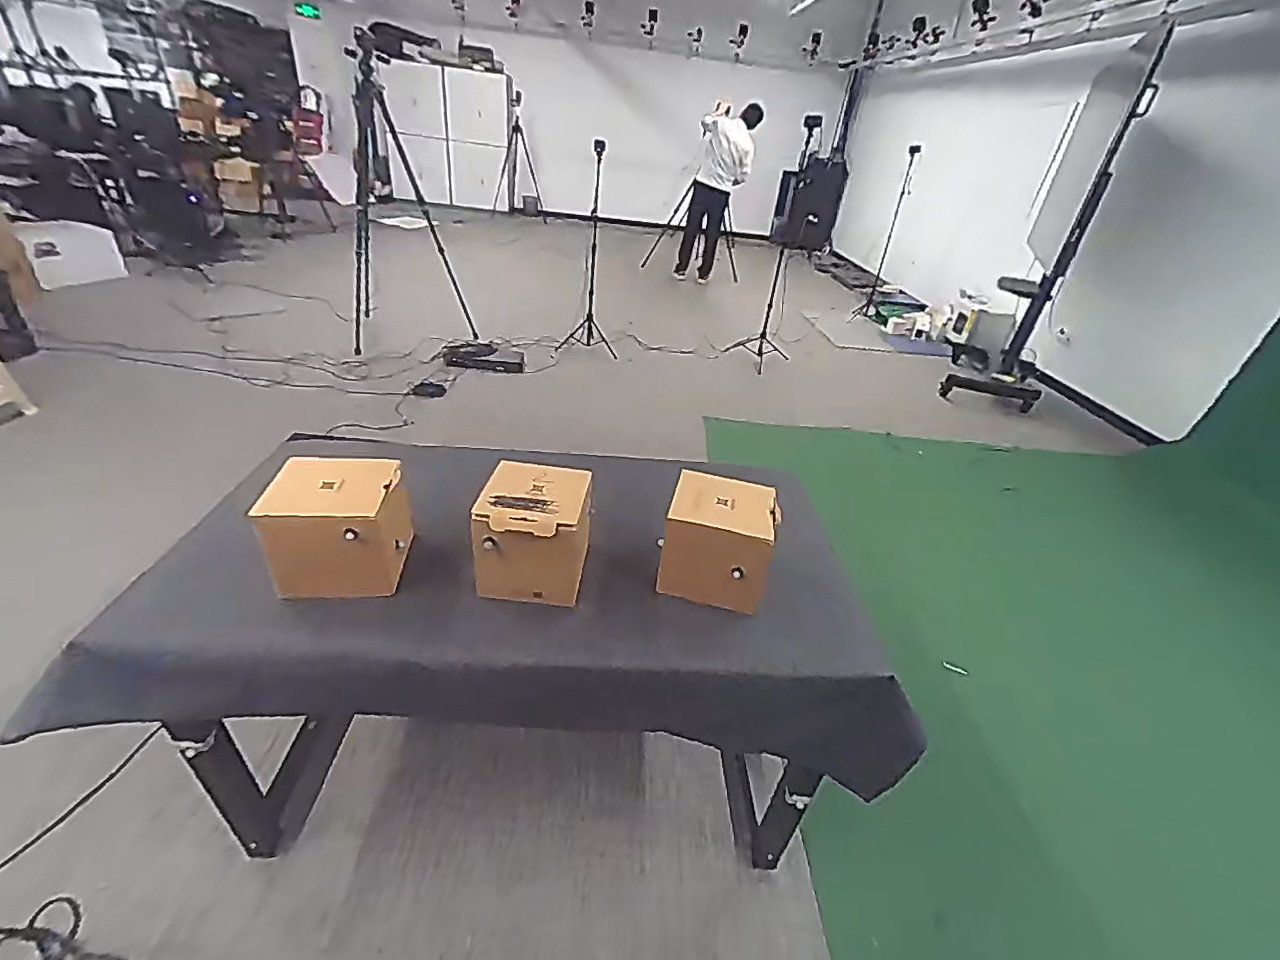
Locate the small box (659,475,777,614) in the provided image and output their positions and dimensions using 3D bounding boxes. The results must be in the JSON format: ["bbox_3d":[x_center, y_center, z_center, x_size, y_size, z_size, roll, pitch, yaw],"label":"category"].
[{"bbox_3d":[0.140,0.115,0.969,0.179,0.176,0.168,11,31,8],"label":"small box"}]

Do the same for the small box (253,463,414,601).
[{"bbox_3d":[-0.489,0.085,0.893,0.179,0.176,0.168,1,32,-11],"label":"small box"}]
